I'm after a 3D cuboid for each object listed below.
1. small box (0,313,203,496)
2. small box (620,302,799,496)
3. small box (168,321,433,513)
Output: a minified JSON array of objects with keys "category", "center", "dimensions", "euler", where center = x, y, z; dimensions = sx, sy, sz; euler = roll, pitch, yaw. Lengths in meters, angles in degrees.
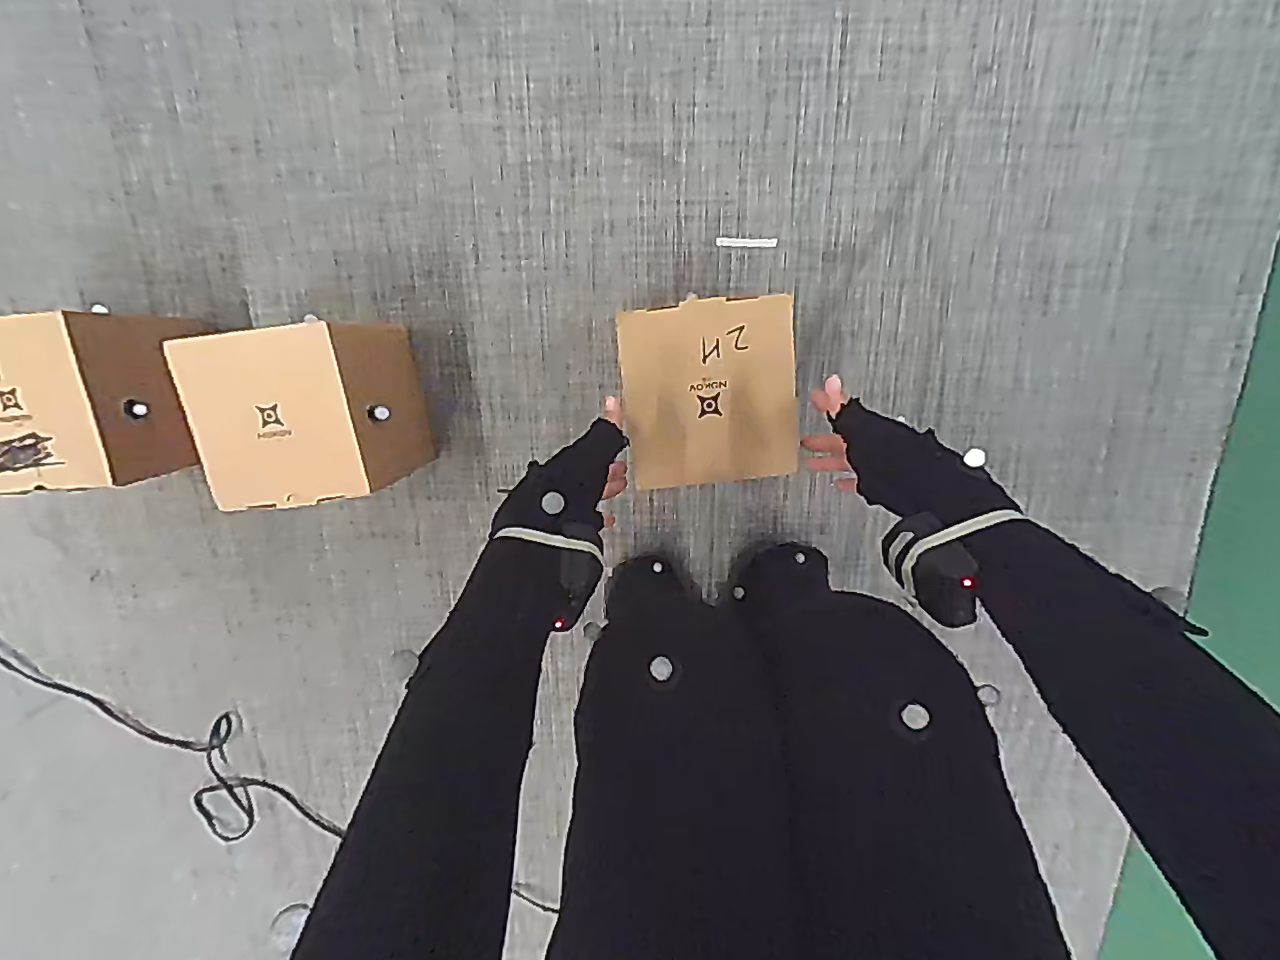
[{"category":"small box","center":[-0.611,-0.089,0.606],"dimensions":[0.168,0.176,0.179],"euler":[-3,103,2]},{"category":"small box","center":[0.071,-0.094,0.592],"dimensions":[0.168,0.176,0.179],"euler":[-6,105,1]},{"category":"small box","center":[-0.356,-0.076,0.605],"dimensions":[0.168,0.176,0.179],"euler":[-6,105,3]}]
